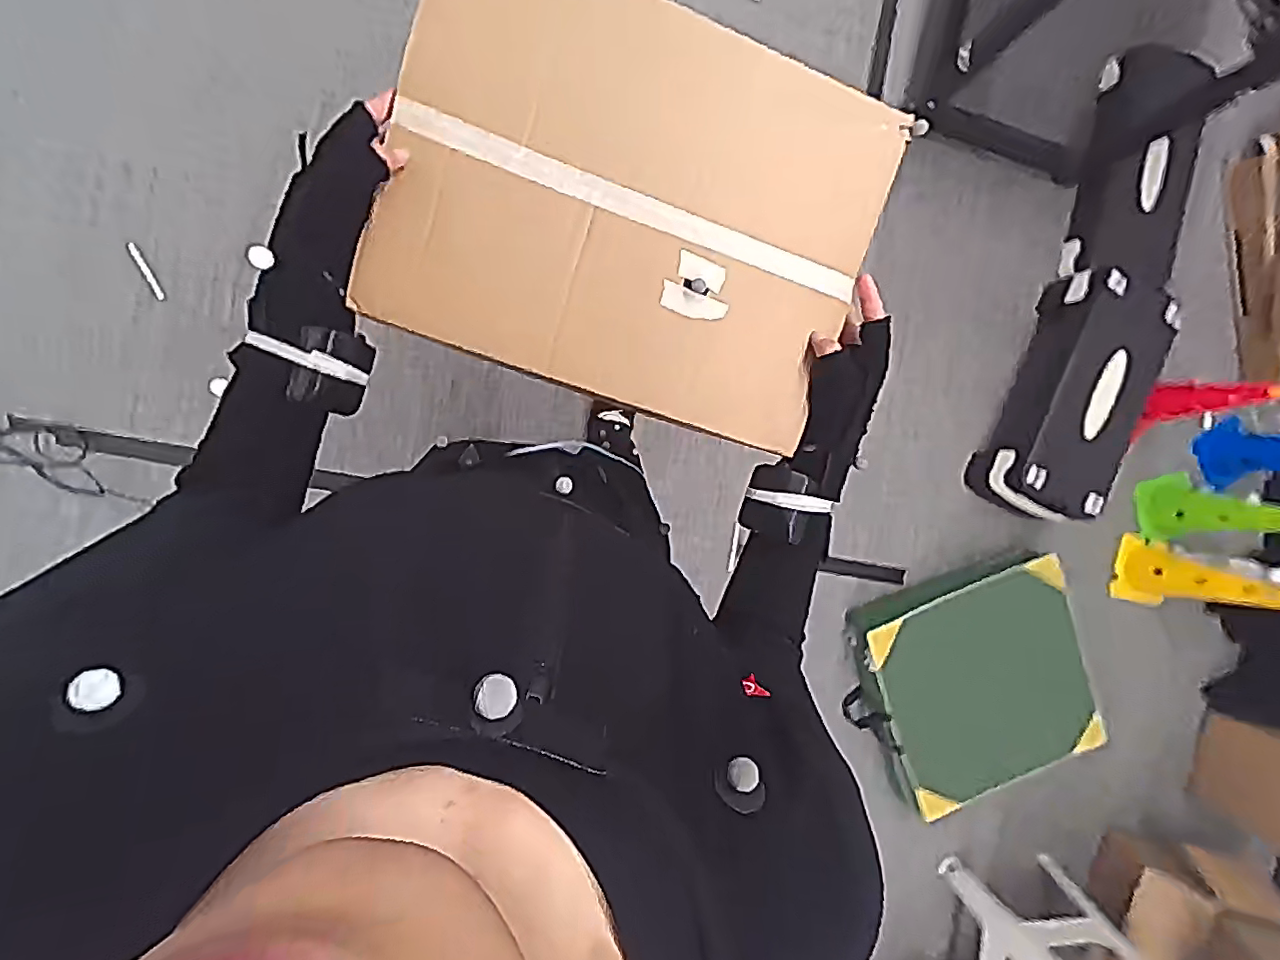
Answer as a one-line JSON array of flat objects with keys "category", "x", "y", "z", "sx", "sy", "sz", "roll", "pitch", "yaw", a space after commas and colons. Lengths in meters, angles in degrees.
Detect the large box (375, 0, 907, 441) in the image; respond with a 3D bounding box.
[{"category": "large box", "x": -0.012, "y": -0.258, "z": 0.611, "sx": 0.408, "sy": 0.320, "sz": 0.320, "roll": 18, "pitch": 97, "yaw": -11}]
